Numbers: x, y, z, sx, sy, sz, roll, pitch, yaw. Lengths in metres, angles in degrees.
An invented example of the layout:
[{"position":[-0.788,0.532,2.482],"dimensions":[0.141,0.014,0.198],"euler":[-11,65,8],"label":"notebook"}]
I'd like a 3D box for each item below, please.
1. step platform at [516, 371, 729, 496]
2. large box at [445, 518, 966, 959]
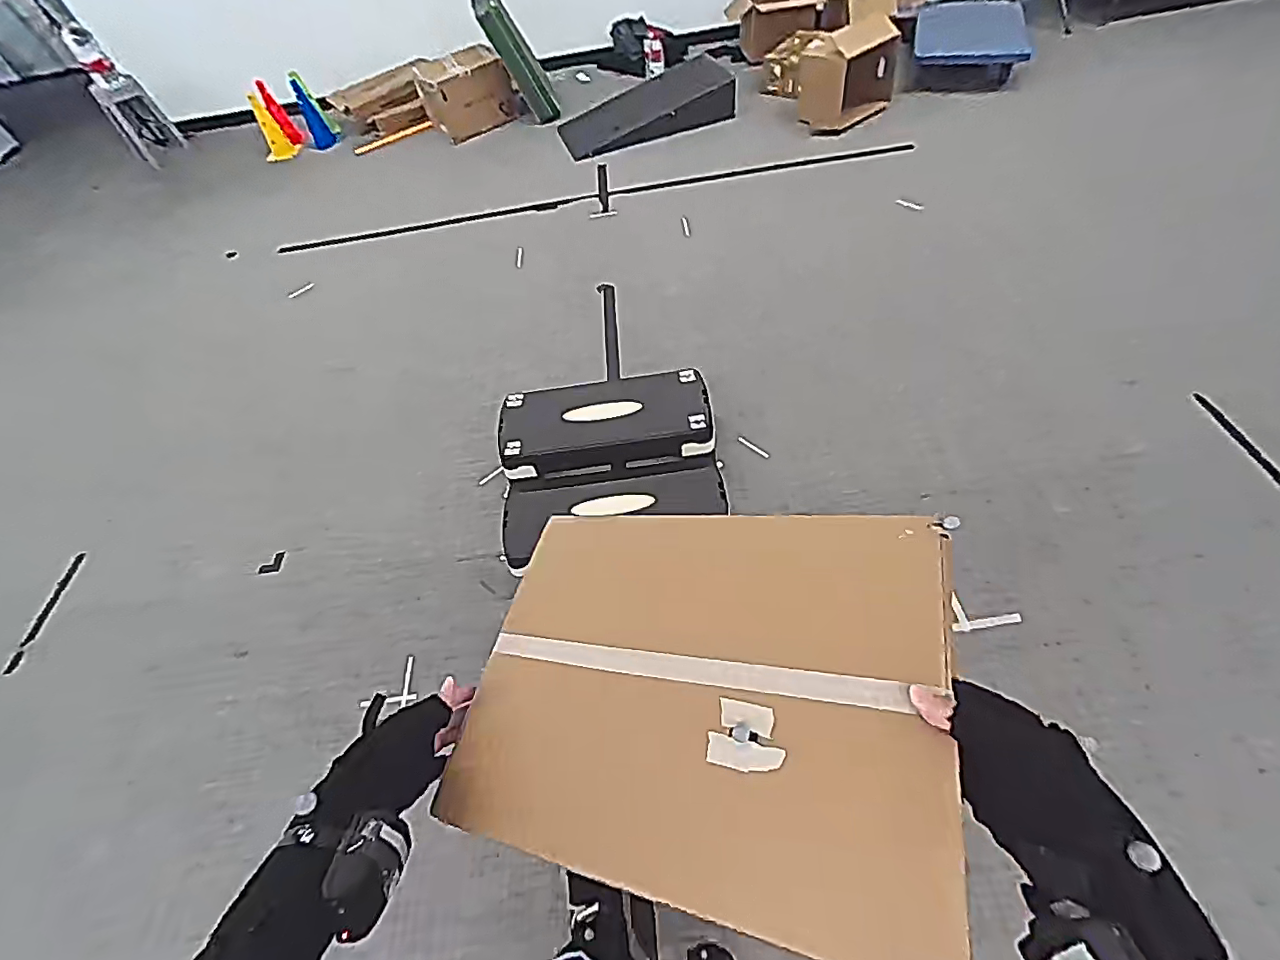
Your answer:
[{"position":[-0.057,-0.157,1.766],"dimensions":[0.684,0.204,0.286],"euler":[-8,54,2],"label":"step platform"},{"position":[0.094,0.253,0.574],"dimensions":[0.408,0.320,0.320],"euler":[-2,53,27],"label":"large box"}]
